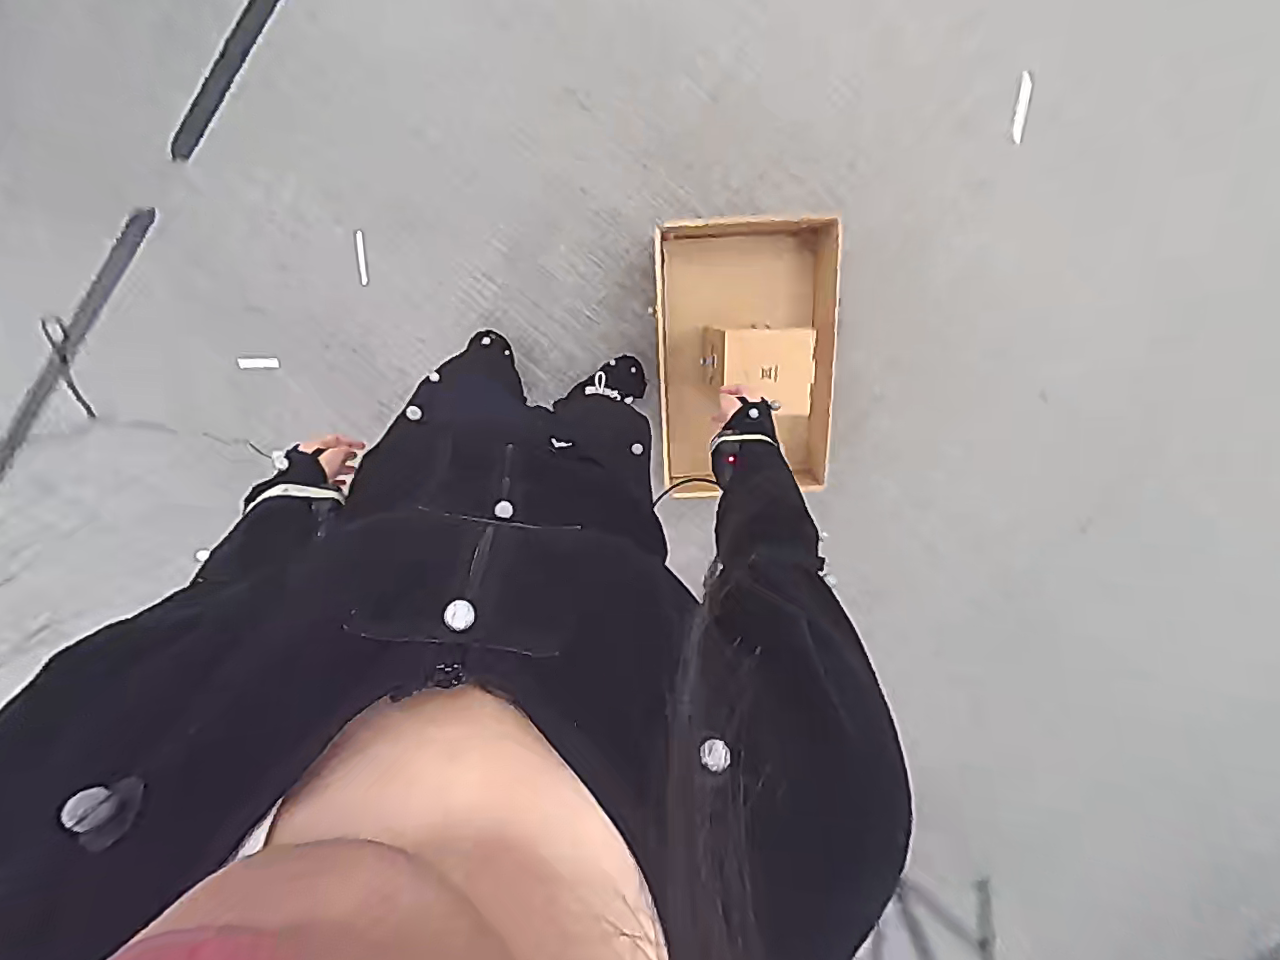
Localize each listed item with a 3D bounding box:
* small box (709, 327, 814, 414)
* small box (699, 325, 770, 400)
[{"bbox_3d":[0.244,-0.232,1.124,0.179,0.176,0.168,0,106,0],"label":"small box"},{"bbox_3d":[0.241,-0.280,1.279,0.179,0.176,0.168,1,106,-1],"label":"small box"}]
